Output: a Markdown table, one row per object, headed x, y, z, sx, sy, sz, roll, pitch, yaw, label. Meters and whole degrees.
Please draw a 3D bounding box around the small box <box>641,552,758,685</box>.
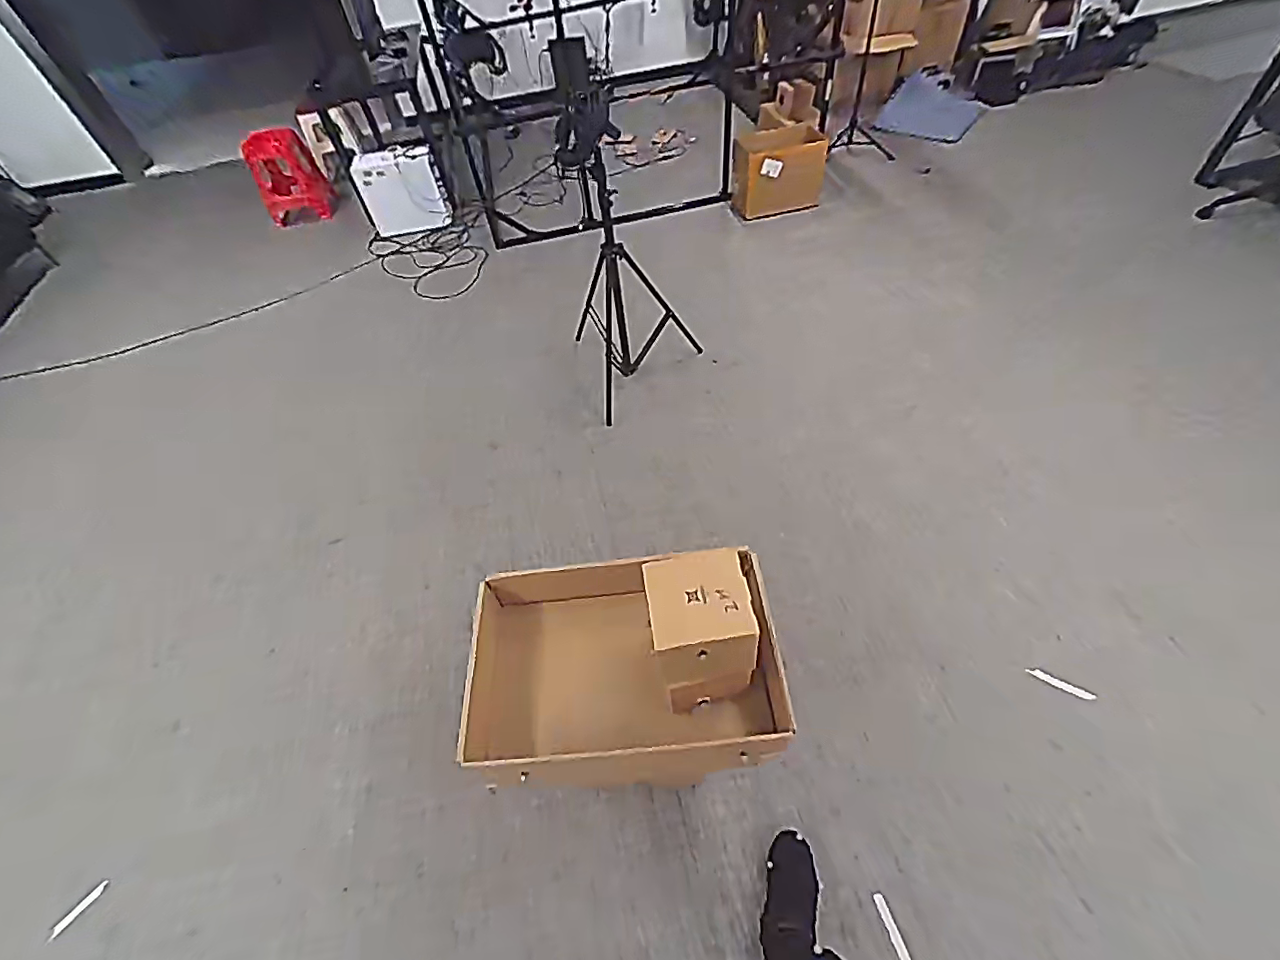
| x | y | z | sx | sy | sz | roll | pitch | yaw | label |
| --- | --- | --- | --- | --- | --- | --- | --- | --- | --- |
| 0.106 | 0.254 | 0.973 | 0.179 | 0.176 | 0.168 | -10 | 51 | 1 | small box |
